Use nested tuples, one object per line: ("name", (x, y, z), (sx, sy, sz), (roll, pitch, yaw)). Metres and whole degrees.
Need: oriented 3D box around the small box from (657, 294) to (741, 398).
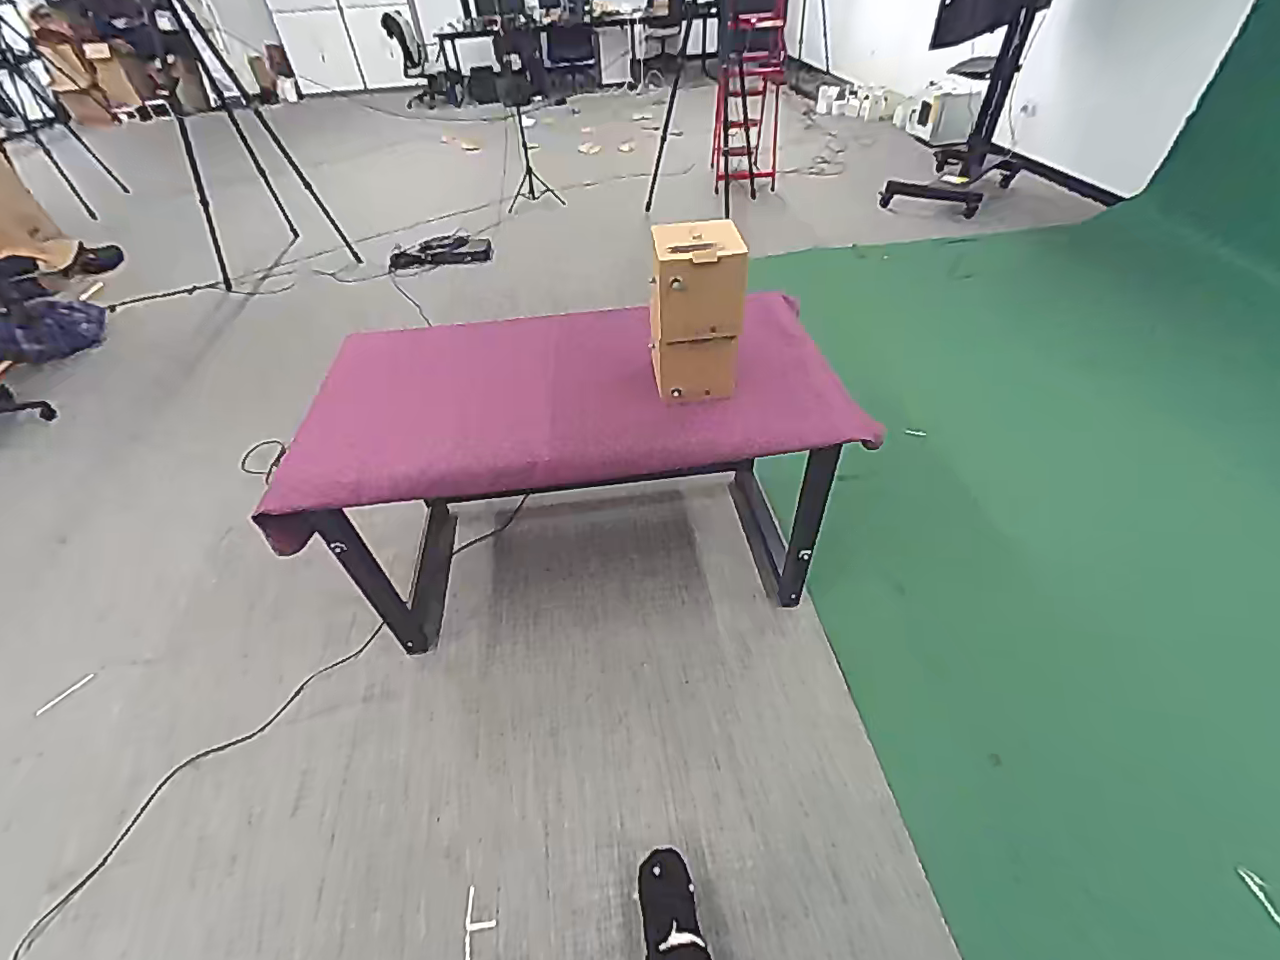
("small box", (0.125, -0.294, 1.206), (0.168, 0.176, 0.179), (-3, 45, -1))
